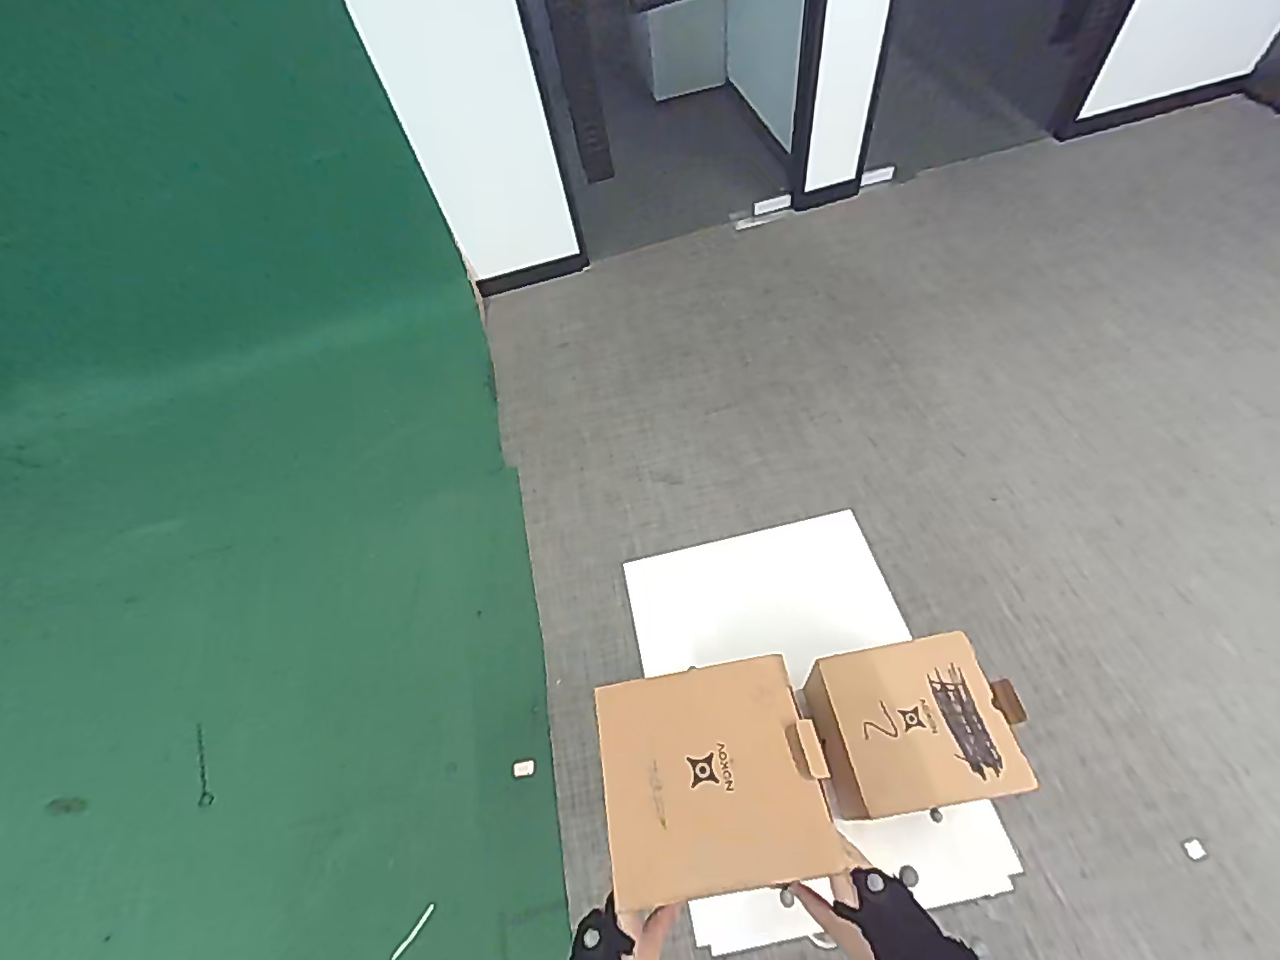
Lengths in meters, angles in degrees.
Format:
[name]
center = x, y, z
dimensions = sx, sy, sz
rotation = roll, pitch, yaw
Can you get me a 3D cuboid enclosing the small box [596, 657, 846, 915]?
[small box]
center = 0.065, 0.285, 0.505
dimensions = 0.179, 0.176, 0.168
rotation = -12, 52, 1
